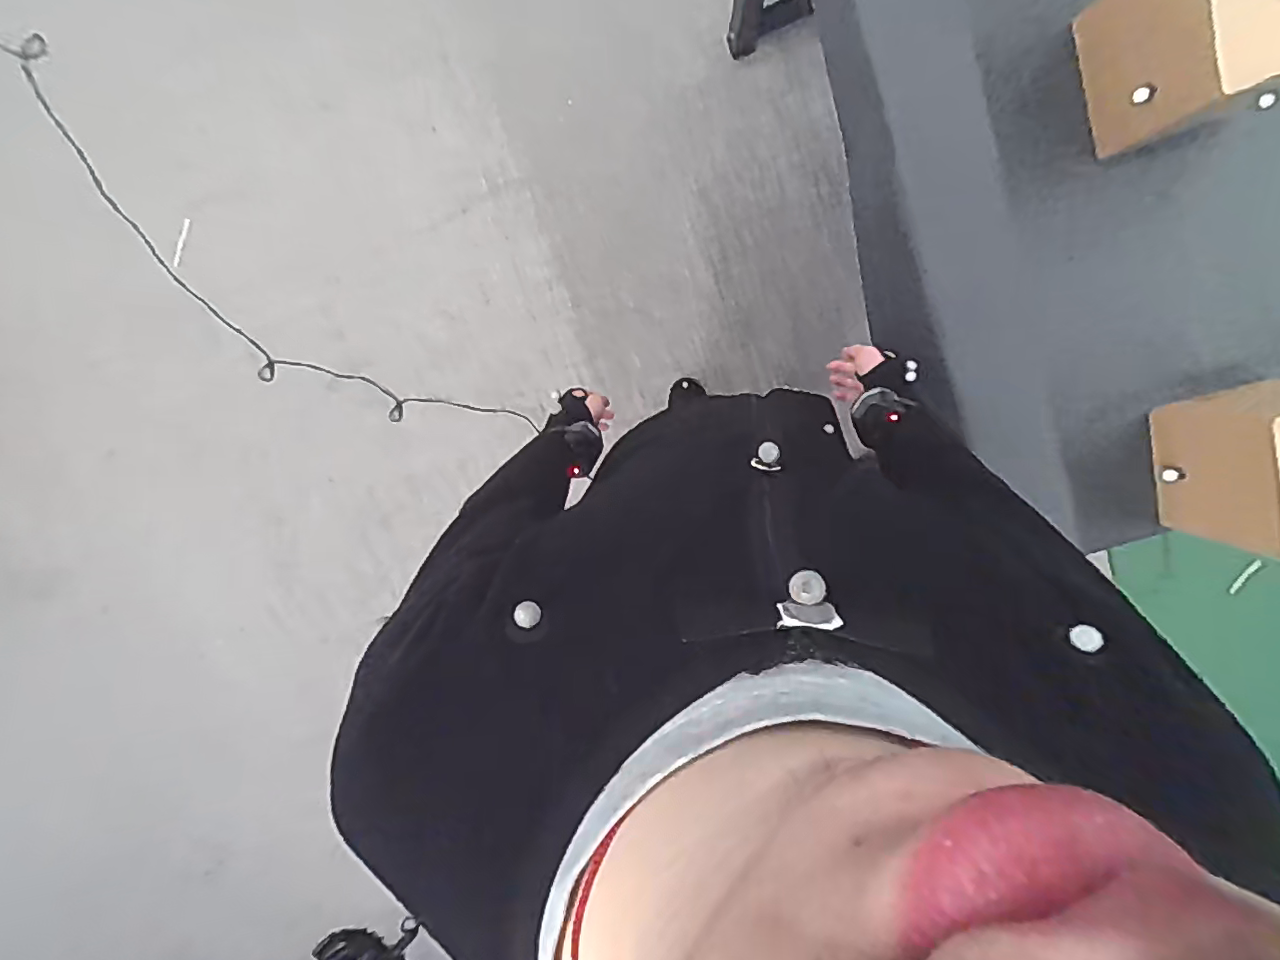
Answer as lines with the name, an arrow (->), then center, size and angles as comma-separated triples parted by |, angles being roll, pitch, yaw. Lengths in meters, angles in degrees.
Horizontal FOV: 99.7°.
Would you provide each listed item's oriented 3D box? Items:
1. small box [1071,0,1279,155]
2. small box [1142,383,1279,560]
small box -> 0.644, -0.504, 0.614 | 0.168, 0.176, 0.179 | -19, 99, 5
small box -> 0.809, -0.021, 0.702 | 0.168, 0.176, 0.179 | -14, 101, 5
